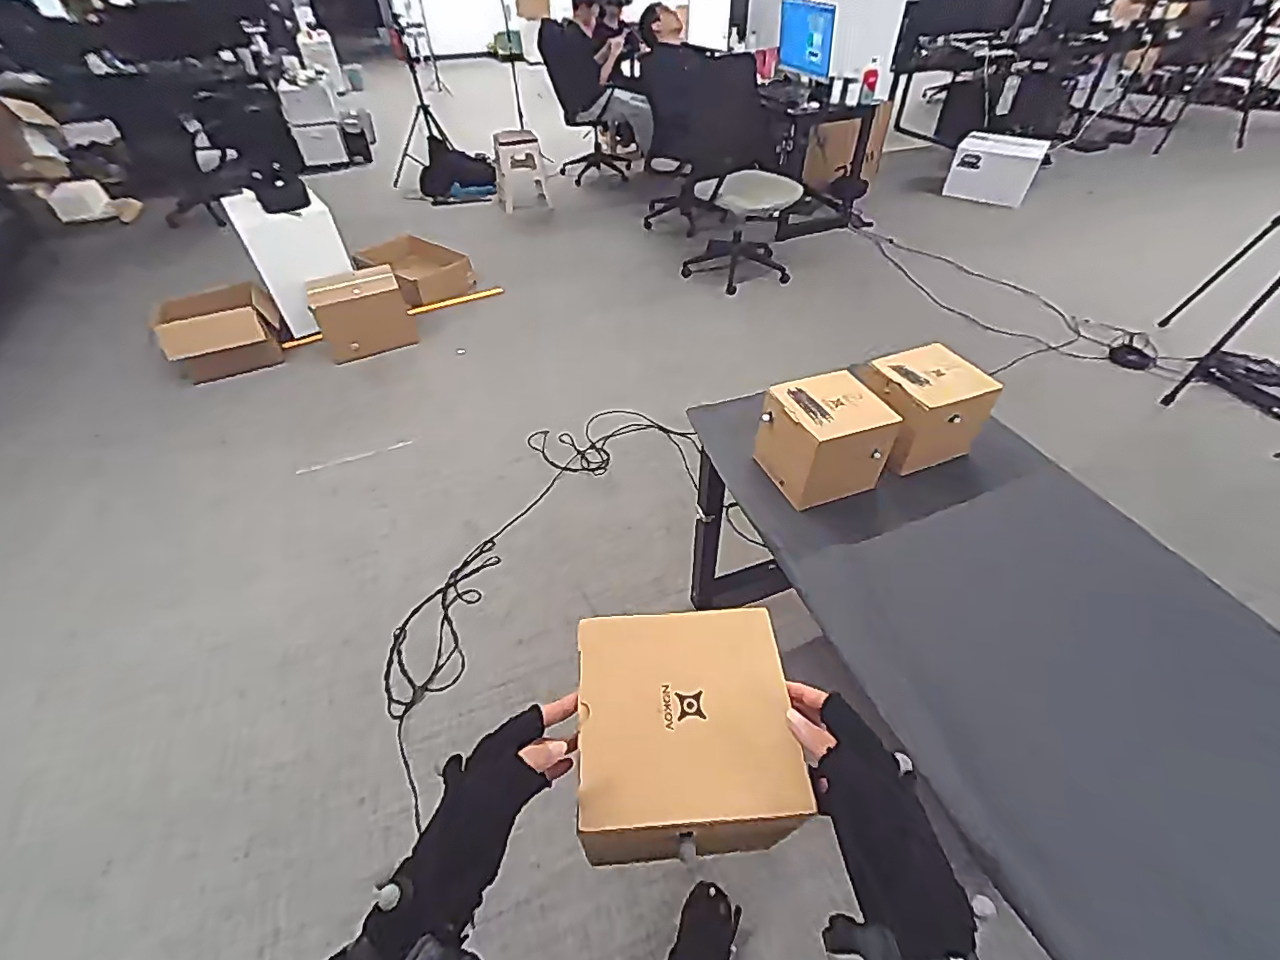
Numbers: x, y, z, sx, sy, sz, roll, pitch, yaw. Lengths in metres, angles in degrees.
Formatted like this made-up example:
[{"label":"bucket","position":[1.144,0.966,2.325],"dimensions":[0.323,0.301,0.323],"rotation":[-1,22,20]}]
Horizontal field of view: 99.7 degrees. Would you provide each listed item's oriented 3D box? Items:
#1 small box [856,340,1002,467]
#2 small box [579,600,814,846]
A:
[{"label":"small box","position":[0.551,-0.148,1.064],"dimensions":[0.179,0.176,0.168],"rotation":[-16,48,-15]},{"label":"small box","position":[0.037,0.228,0.503],"dimensions":[0.179,0.176,0.168],"rotation":[-3,49,-2]}]
